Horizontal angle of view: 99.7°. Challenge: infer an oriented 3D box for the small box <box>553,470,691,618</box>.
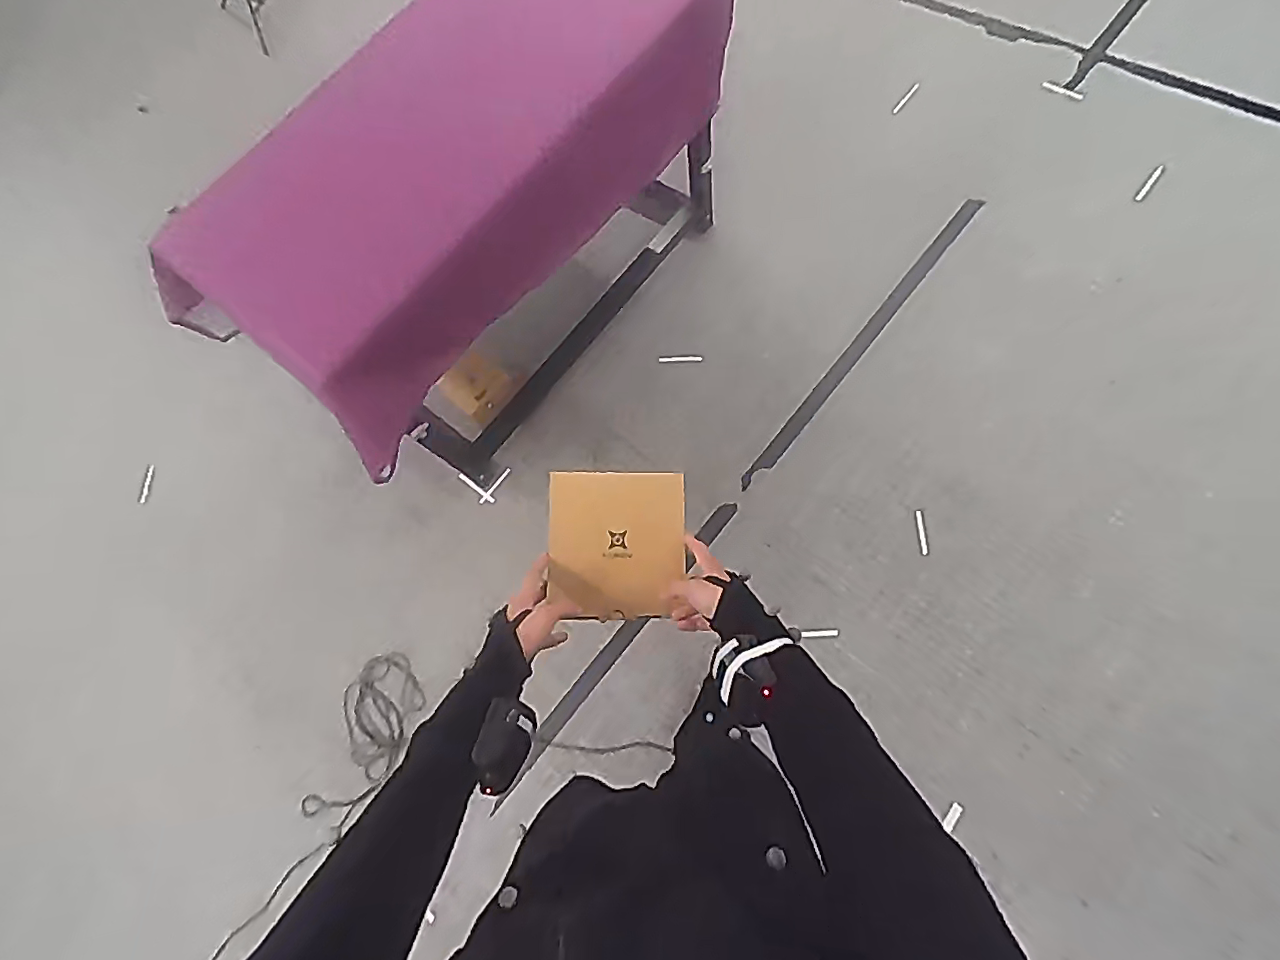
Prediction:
[{"bbox_3d":[-0.028,0.089,0.721,0.168,0.176,0.179,1,80,-6],"label":"small box"}]
